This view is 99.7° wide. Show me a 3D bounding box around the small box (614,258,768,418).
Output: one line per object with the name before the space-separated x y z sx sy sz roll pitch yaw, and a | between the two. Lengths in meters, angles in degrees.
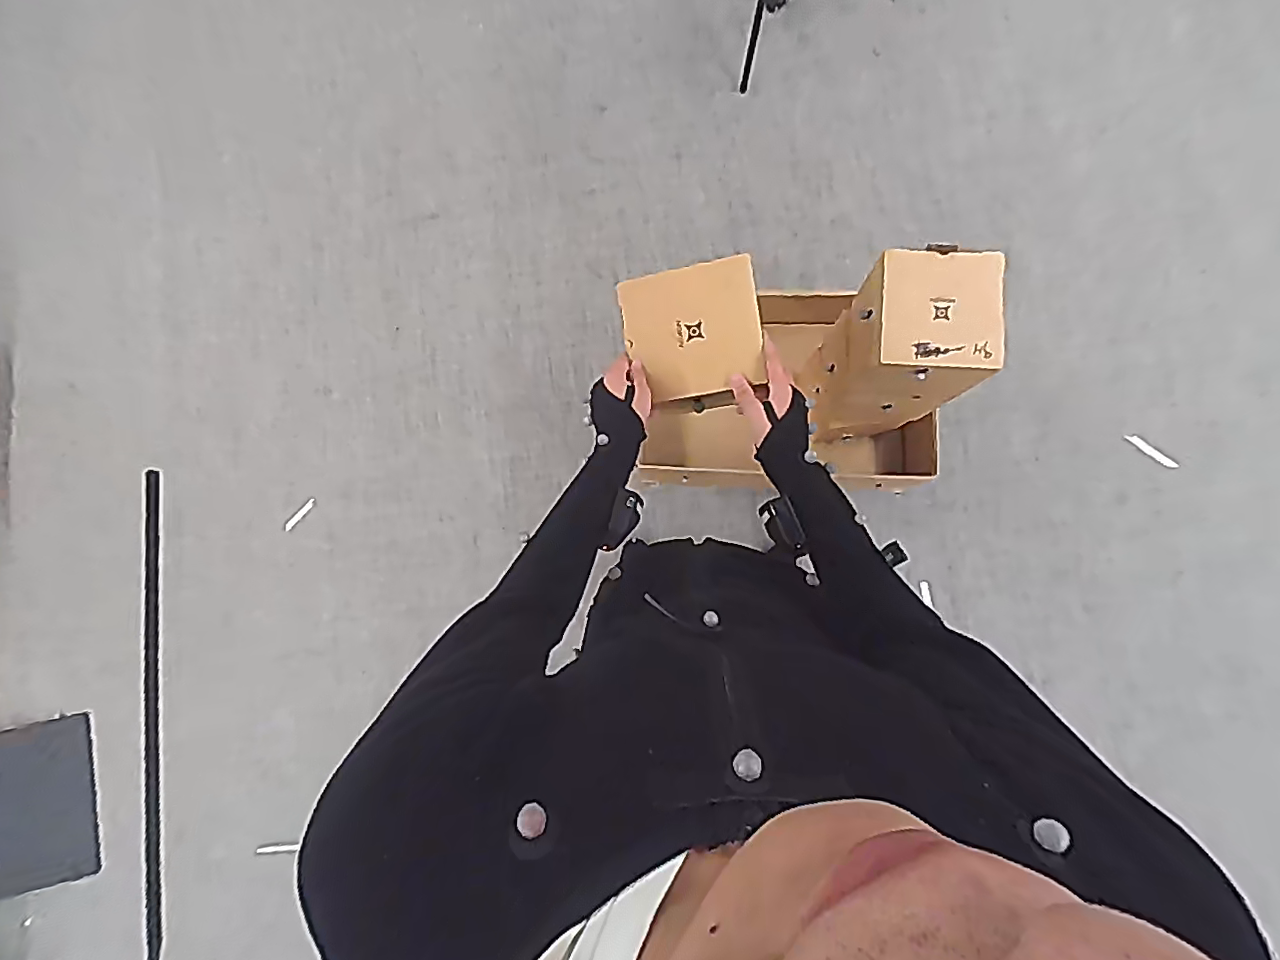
small box | 0.078 -0.184 0.755 0.179 0.176 0.168 -9 90 14

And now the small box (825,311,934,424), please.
small box | 0.443 -0.200 0.991 0.179 0.176 0.168 -1 83 6

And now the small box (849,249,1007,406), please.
small box | 0.429 -0.225 0.829 0.168 0.176 0.179 5 82 7
